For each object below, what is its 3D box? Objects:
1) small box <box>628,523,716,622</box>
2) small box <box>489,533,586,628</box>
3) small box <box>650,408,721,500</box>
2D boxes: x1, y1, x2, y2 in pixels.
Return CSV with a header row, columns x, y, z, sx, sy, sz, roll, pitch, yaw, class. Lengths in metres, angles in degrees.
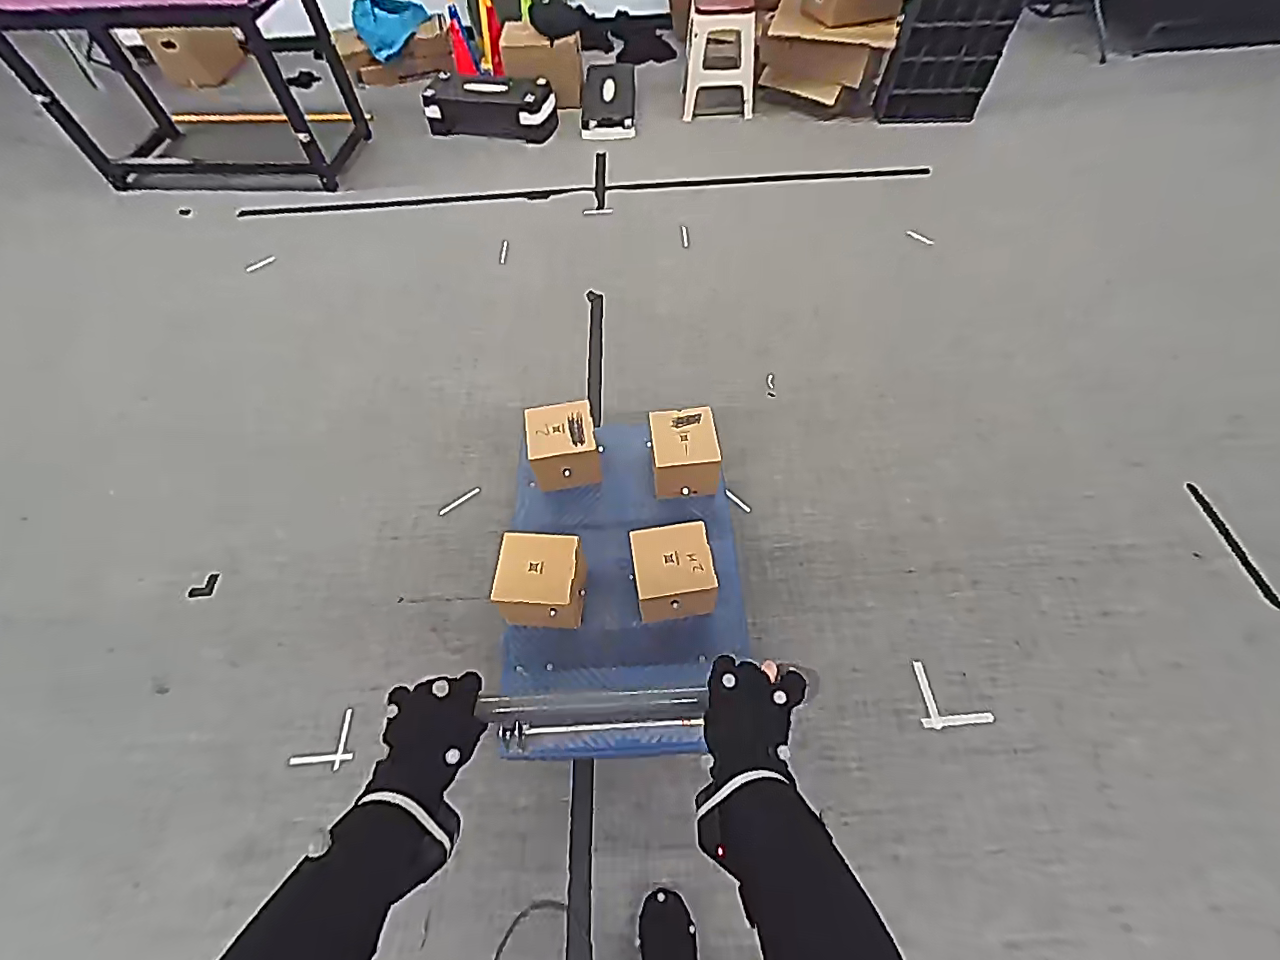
x,y,z,sx,sy,sz,roll,pitch,yaw,class
0.073,0.220,1.258,0.179,0.176,0.168,-8,58,-2,small box
-0.231,0.238,1.261,0.179,0.176,0.168,3,58,3,small box
0.114,-0.067,1.435,0.168,0.176,0.179,-6,59,-1,small box
